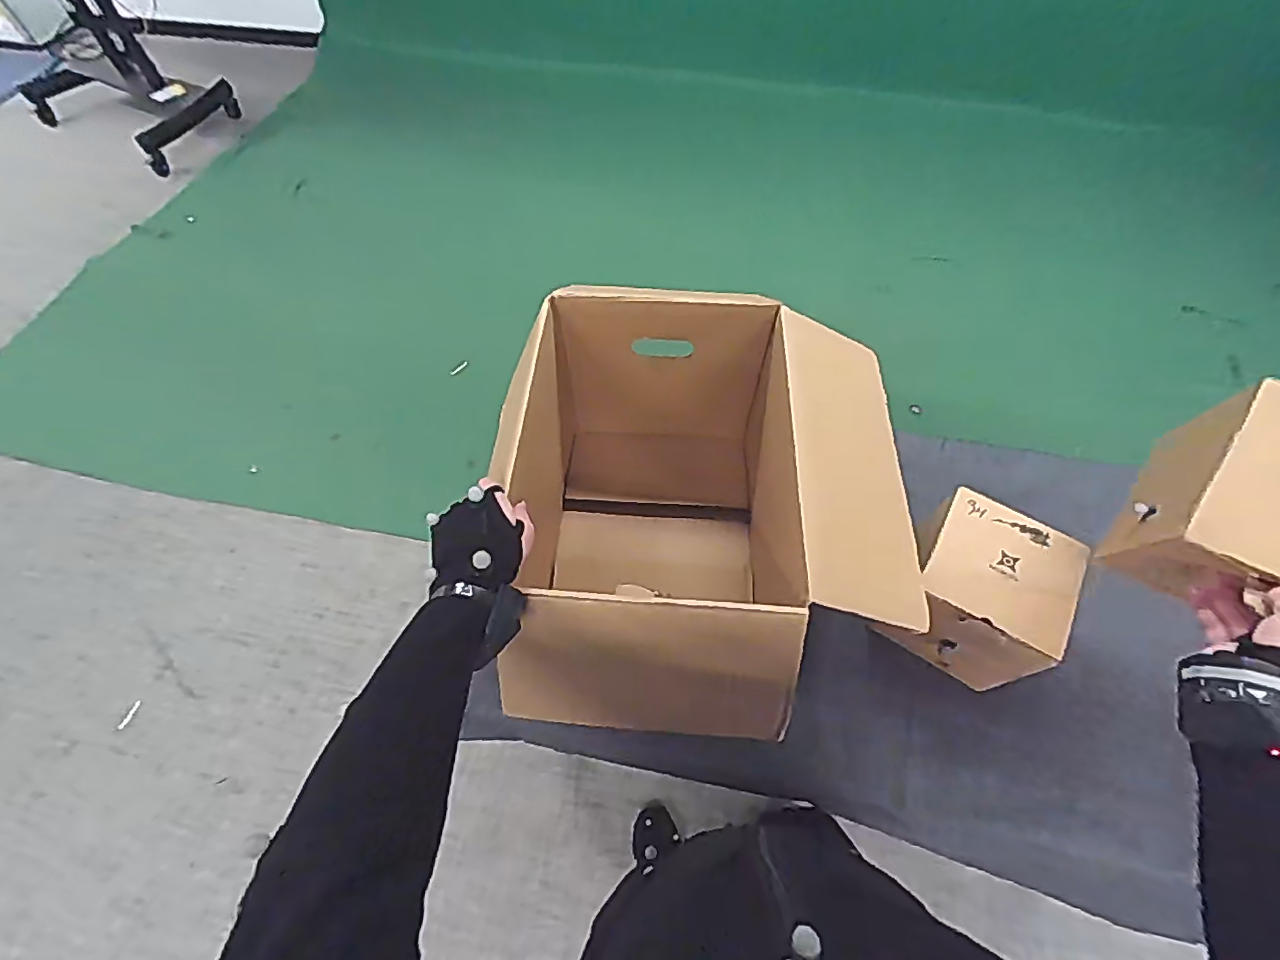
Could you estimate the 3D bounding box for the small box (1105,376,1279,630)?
[{"bbox_3d":[0.613,0.034,0.530,0.168,0.176,0.179,30,86,22],"label":"small box"}]
